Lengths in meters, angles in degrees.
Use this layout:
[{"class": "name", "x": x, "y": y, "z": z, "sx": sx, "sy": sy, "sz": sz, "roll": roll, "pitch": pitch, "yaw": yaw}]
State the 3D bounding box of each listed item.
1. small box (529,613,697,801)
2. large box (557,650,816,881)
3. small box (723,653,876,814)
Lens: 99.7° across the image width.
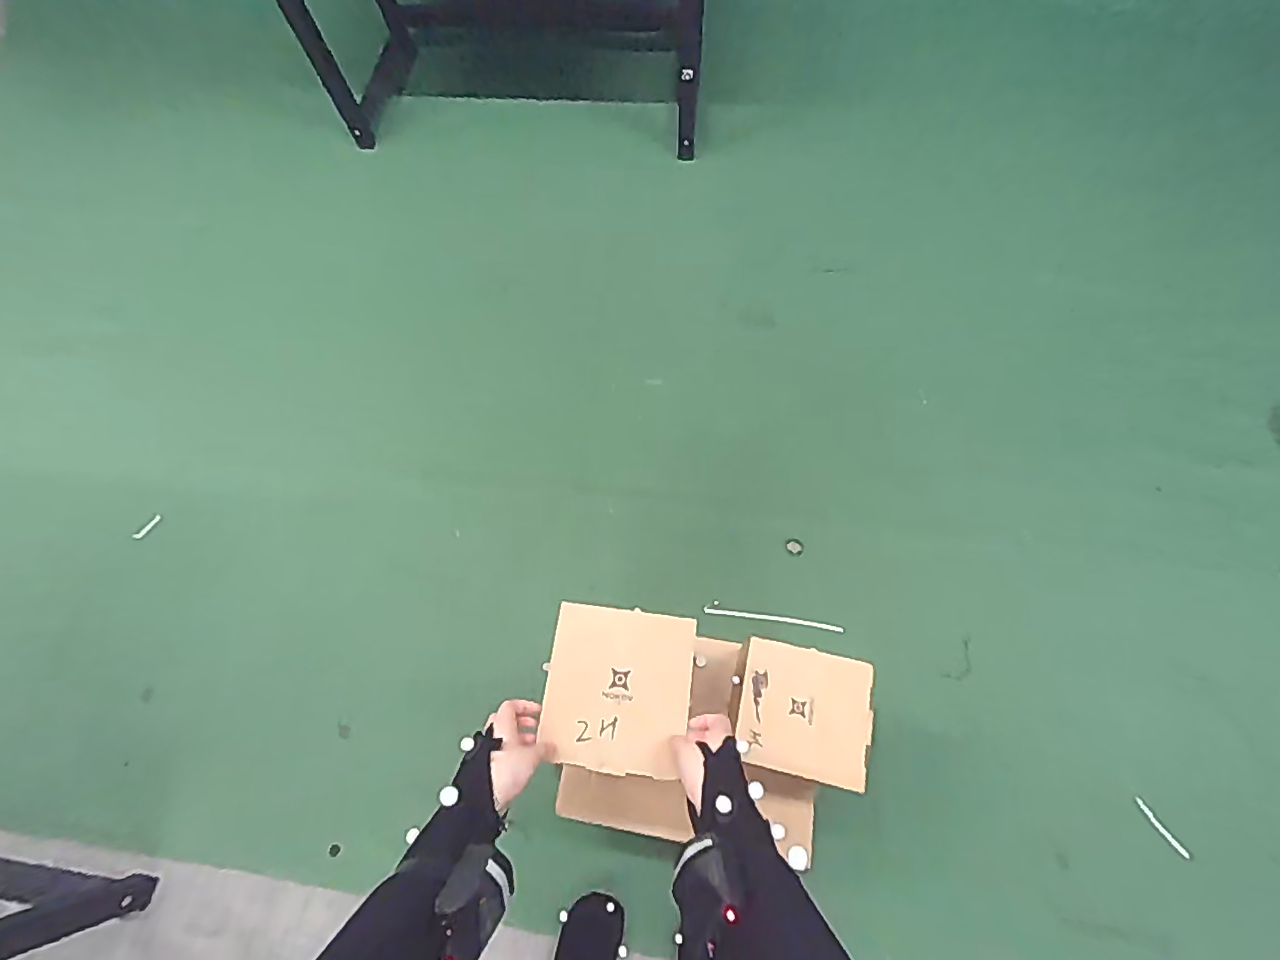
[{"class": "small box", "x": -0.024, "y": 0.277, "z": 0.672, "sx": 0.168, "sy": 0.176, "sz": 0.179, "roll": 6, "pitch": 67, "yaw": 5}, {"class": "large box", "x": 0.090, "y": 0.497, "z": 1.014, "sx": 0.408, "sy": 0.320, "sz": 0.320, "roll": 7, "pitch": 67, "yaw": 6}, {"class": "small box", "x": 0.226, "y": 0.366, "z": 0.797, "sx": 0.179, "sy": 0.176, "sz": 0.168, "roll": 11, "pitch": 67, "yaw": 10}]
